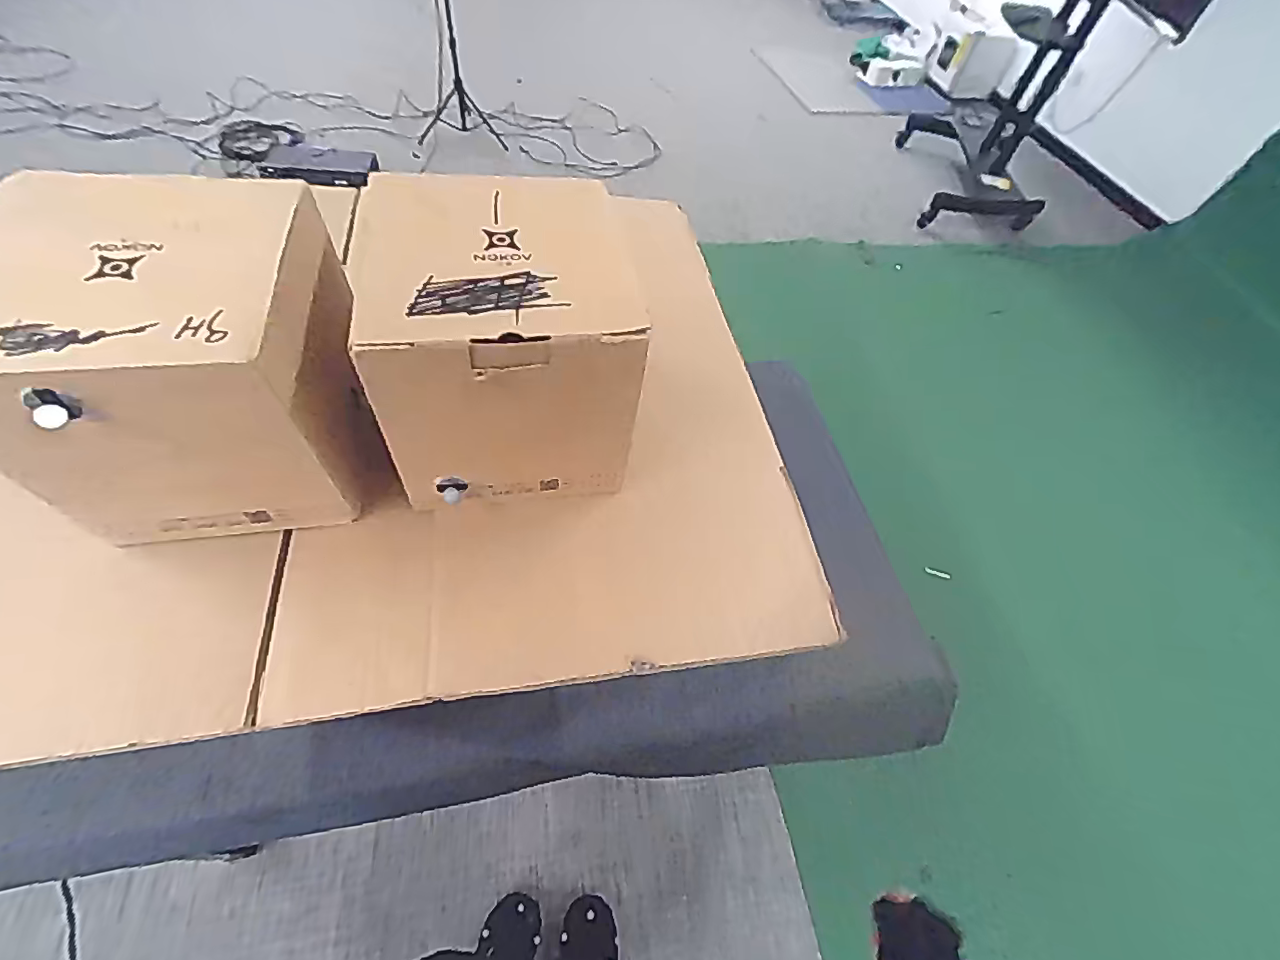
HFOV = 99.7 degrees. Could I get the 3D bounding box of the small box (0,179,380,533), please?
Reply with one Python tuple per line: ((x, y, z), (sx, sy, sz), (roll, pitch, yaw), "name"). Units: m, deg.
((-0.298, -0.084, 0.382), (0.168, 0.176, 0.179), (-5, 56, -9), "small box")
